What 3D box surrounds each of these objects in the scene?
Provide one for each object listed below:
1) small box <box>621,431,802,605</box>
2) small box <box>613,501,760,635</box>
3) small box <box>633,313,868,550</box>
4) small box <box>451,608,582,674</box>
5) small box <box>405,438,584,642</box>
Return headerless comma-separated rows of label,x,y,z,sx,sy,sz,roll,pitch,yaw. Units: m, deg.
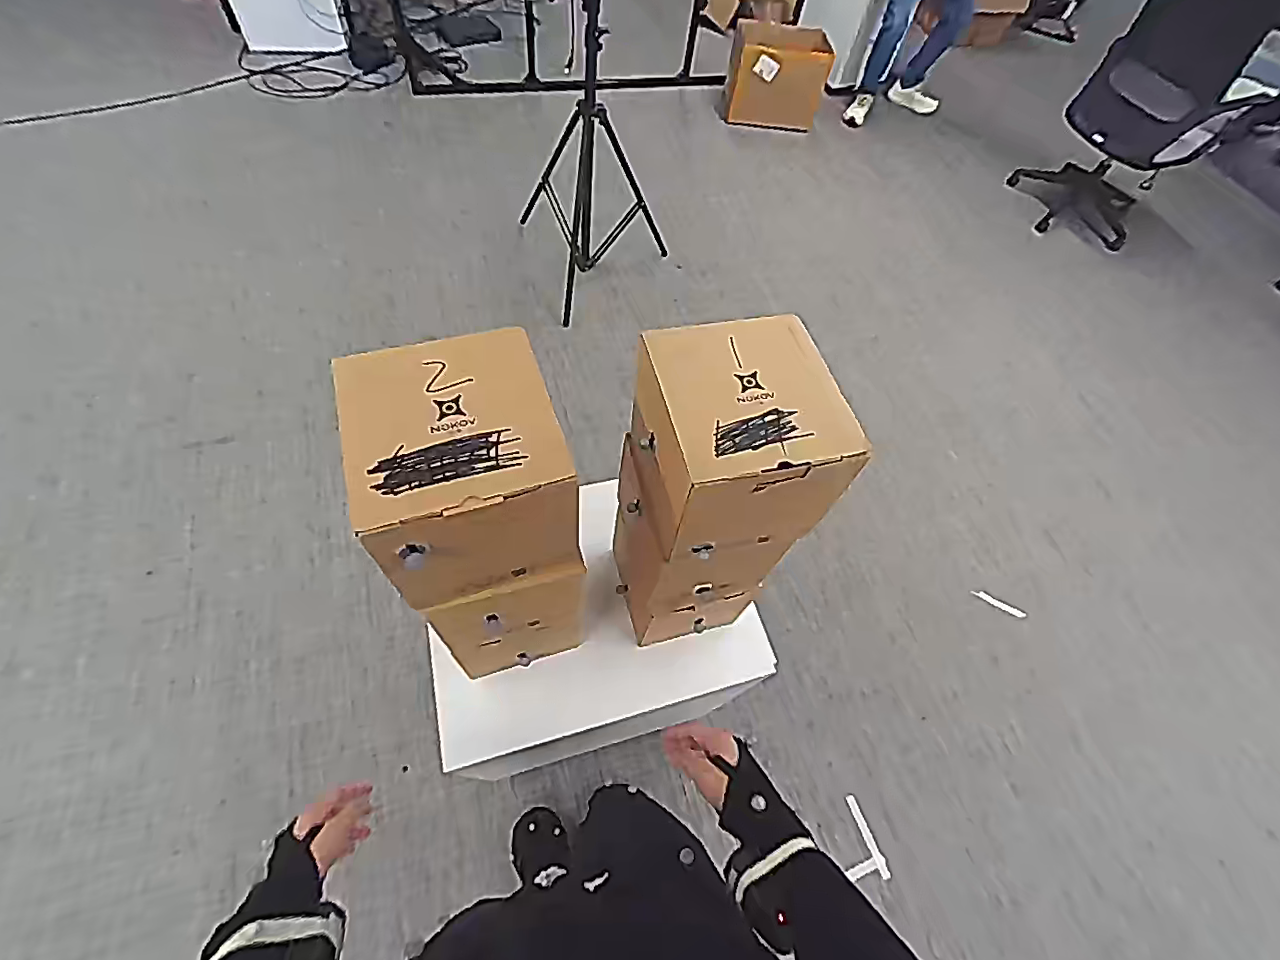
small box,0.076,0.041,0.699,0.168,0.176,0.179,-12,63,-12
small box,0.060,0.129,0.833,0.168,0.176,0.179,-11,63,-13
small box,0.093,-0.041,0.556,0.168,0.176,0.179,-10,60,-11
small box,-0.188,0.159,0.784,0.168,0.176,0.179,-13,63,-15
small box,-0.166,0.079,0.644,0.168,0.176,0.179,-13,61,-15
